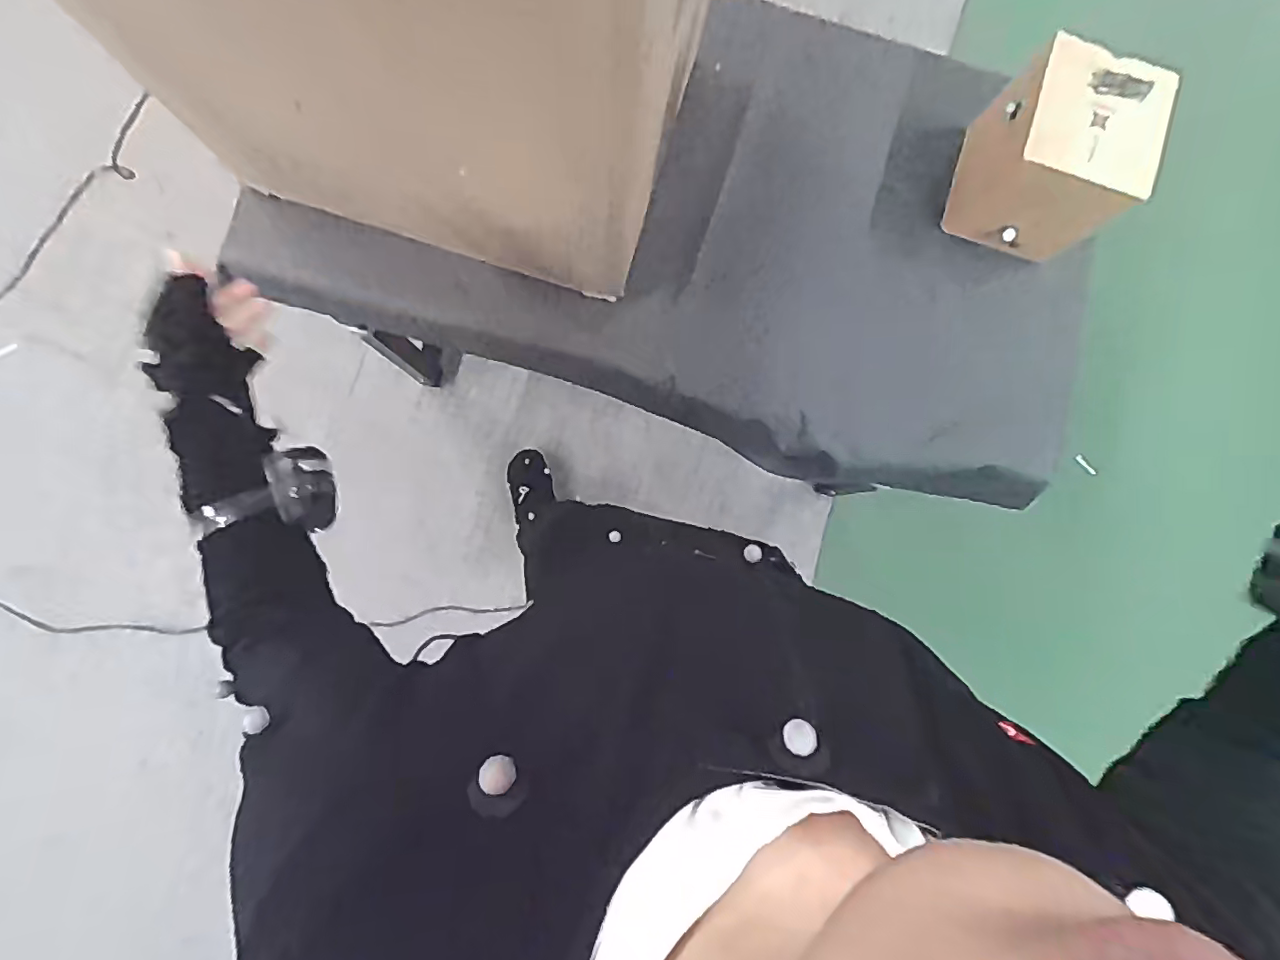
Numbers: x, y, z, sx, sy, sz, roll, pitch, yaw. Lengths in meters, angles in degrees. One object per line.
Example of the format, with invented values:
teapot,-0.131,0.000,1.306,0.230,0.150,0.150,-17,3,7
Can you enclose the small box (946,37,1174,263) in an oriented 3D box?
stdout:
small box,0.560,-0.437,0.744,0.168,0.176,0.179,18,85,-2
